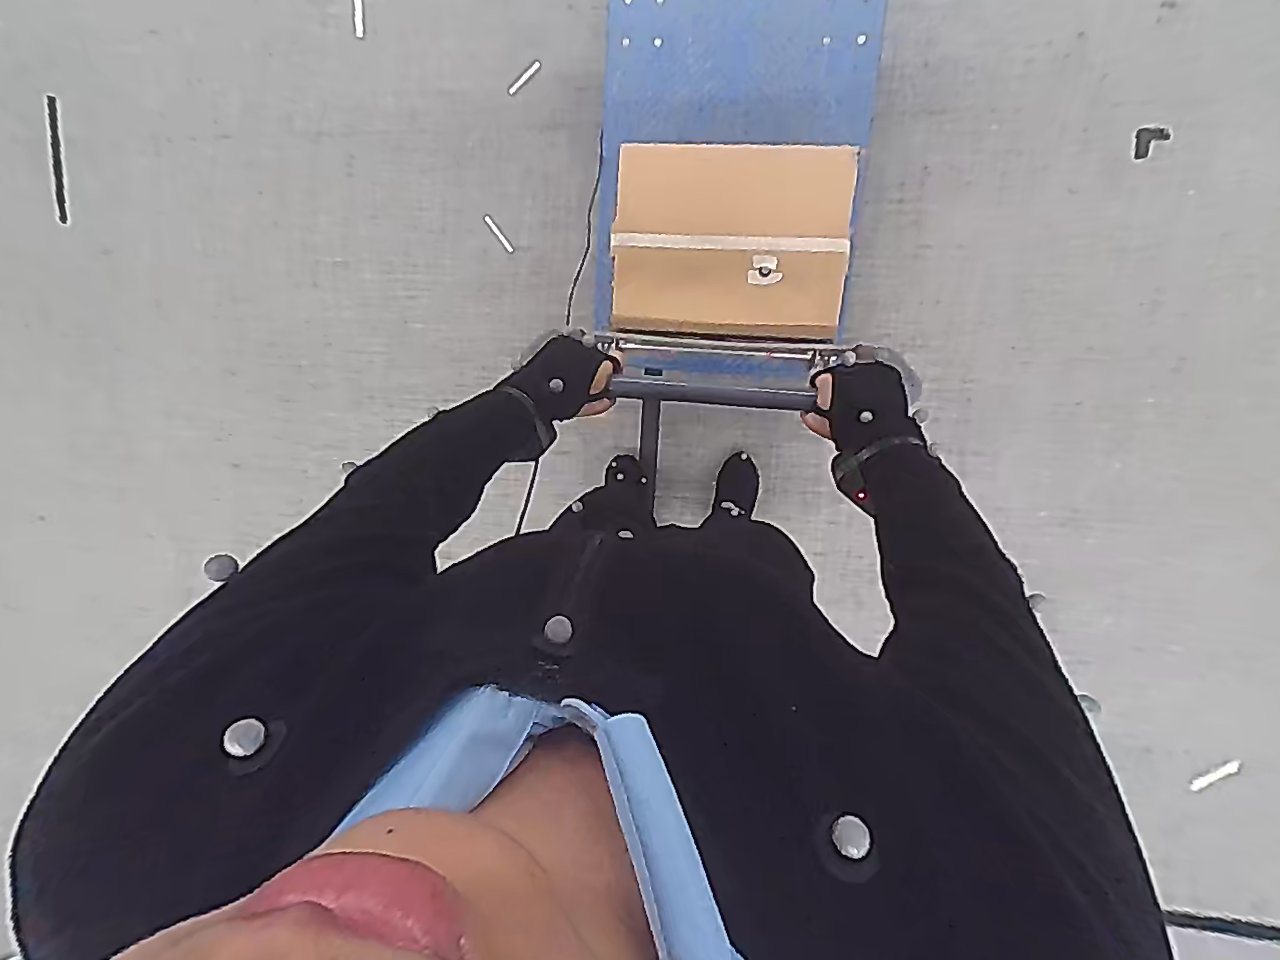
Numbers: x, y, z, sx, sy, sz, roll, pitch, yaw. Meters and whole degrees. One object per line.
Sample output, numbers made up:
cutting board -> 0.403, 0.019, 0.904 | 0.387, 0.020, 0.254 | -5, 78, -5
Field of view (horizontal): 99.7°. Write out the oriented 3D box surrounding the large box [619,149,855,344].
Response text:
large box -> 0.177, -0.448, 1.106 | 0.408, 0.320, 0.320 | 4, 103, 6
